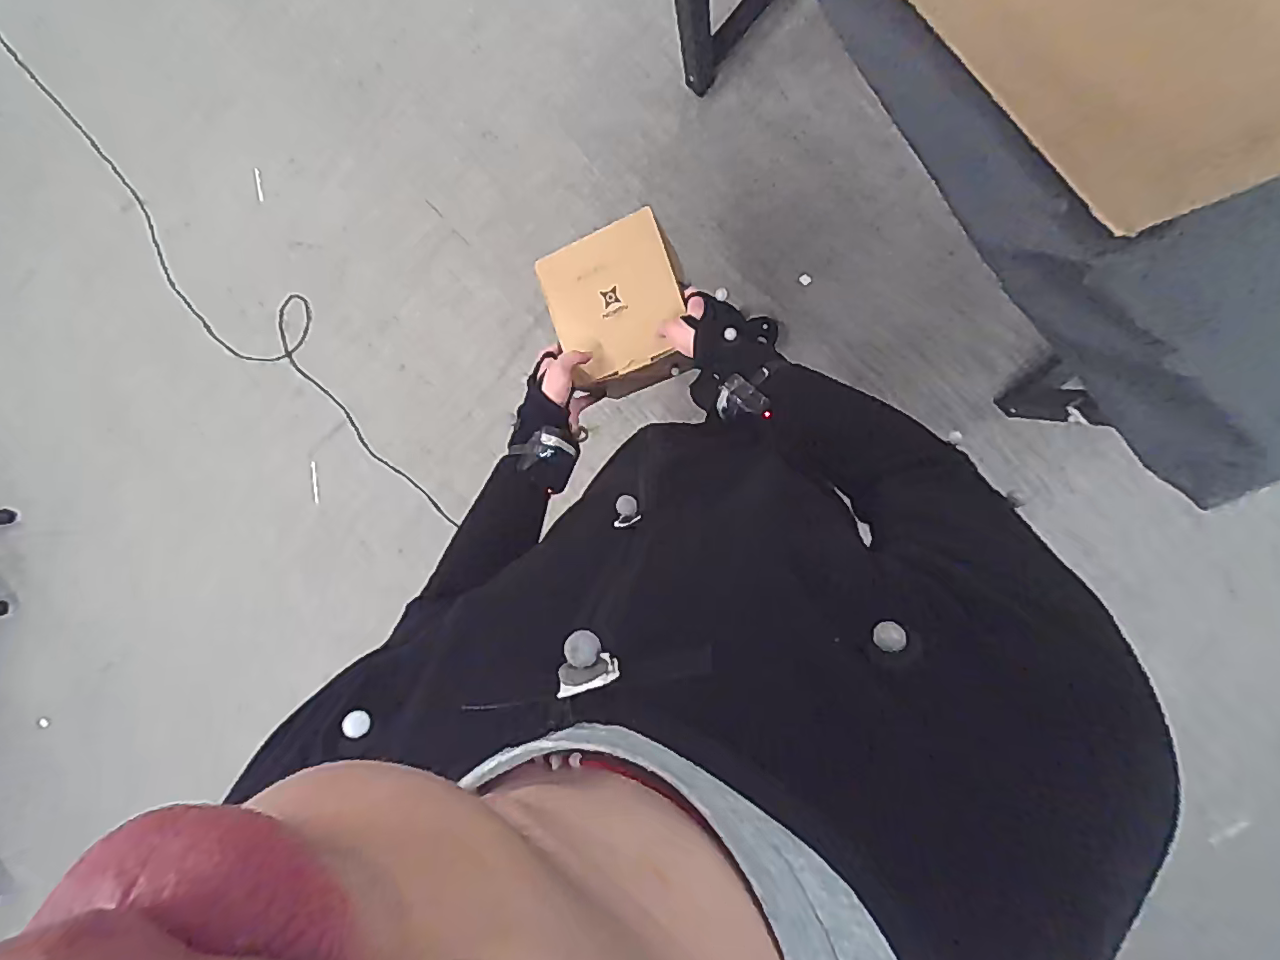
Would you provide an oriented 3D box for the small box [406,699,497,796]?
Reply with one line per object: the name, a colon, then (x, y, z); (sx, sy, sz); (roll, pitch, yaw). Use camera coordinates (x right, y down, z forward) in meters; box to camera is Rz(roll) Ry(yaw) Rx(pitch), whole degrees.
small box: (-0.581, 0.829, 1.690); (0.179, 0.176, 0.168); (-39, 92, 11)
